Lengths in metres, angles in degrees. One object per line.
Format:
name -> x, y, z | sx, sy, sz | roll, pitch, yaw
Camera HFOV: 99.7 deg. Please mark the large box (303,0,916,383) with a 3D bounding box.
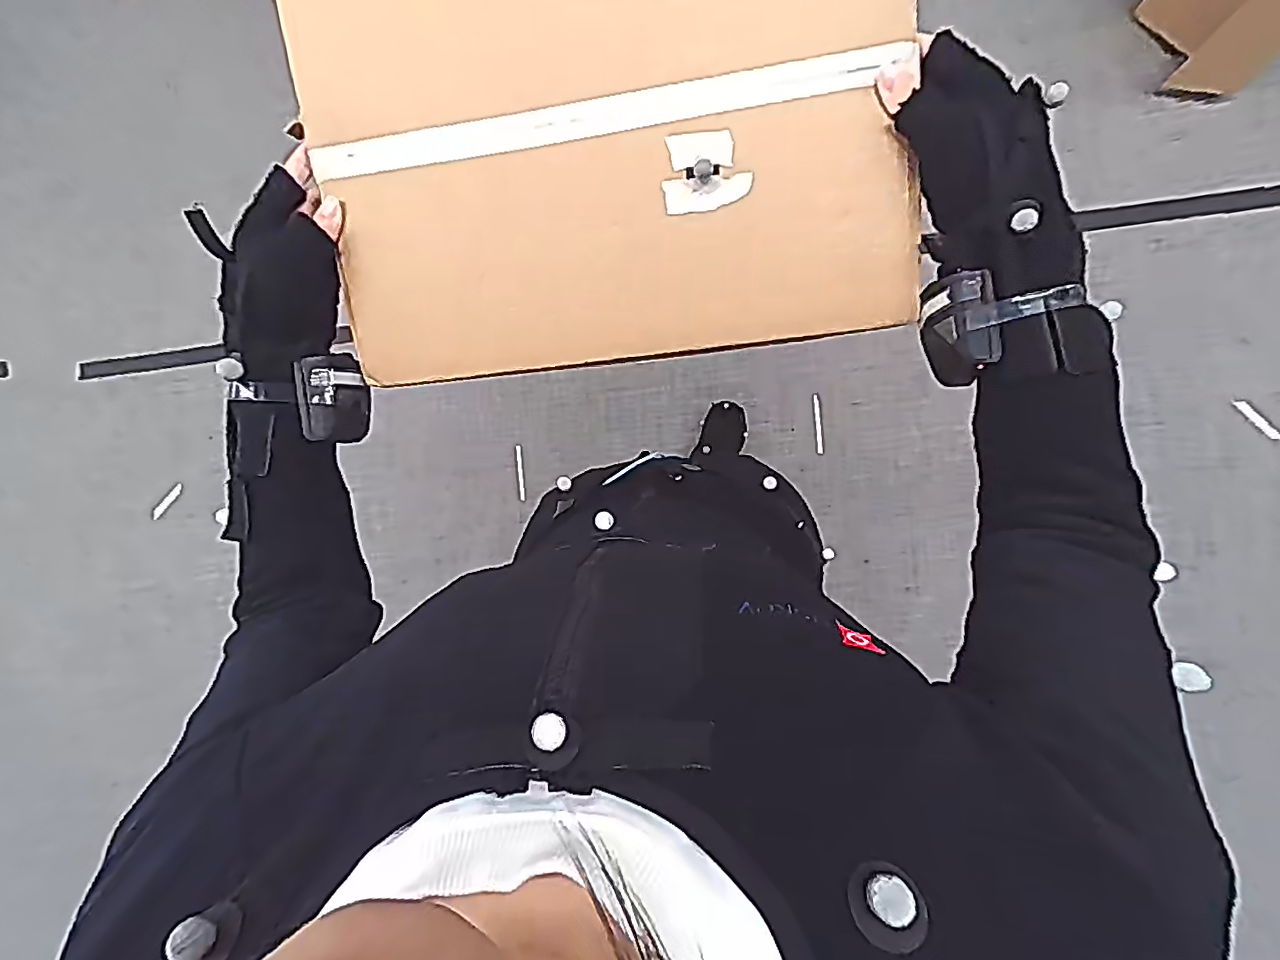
large box -> -0.011, -0.280, 0.516 | 0.408, 0.320, 0.320 | -6, 103, 6
